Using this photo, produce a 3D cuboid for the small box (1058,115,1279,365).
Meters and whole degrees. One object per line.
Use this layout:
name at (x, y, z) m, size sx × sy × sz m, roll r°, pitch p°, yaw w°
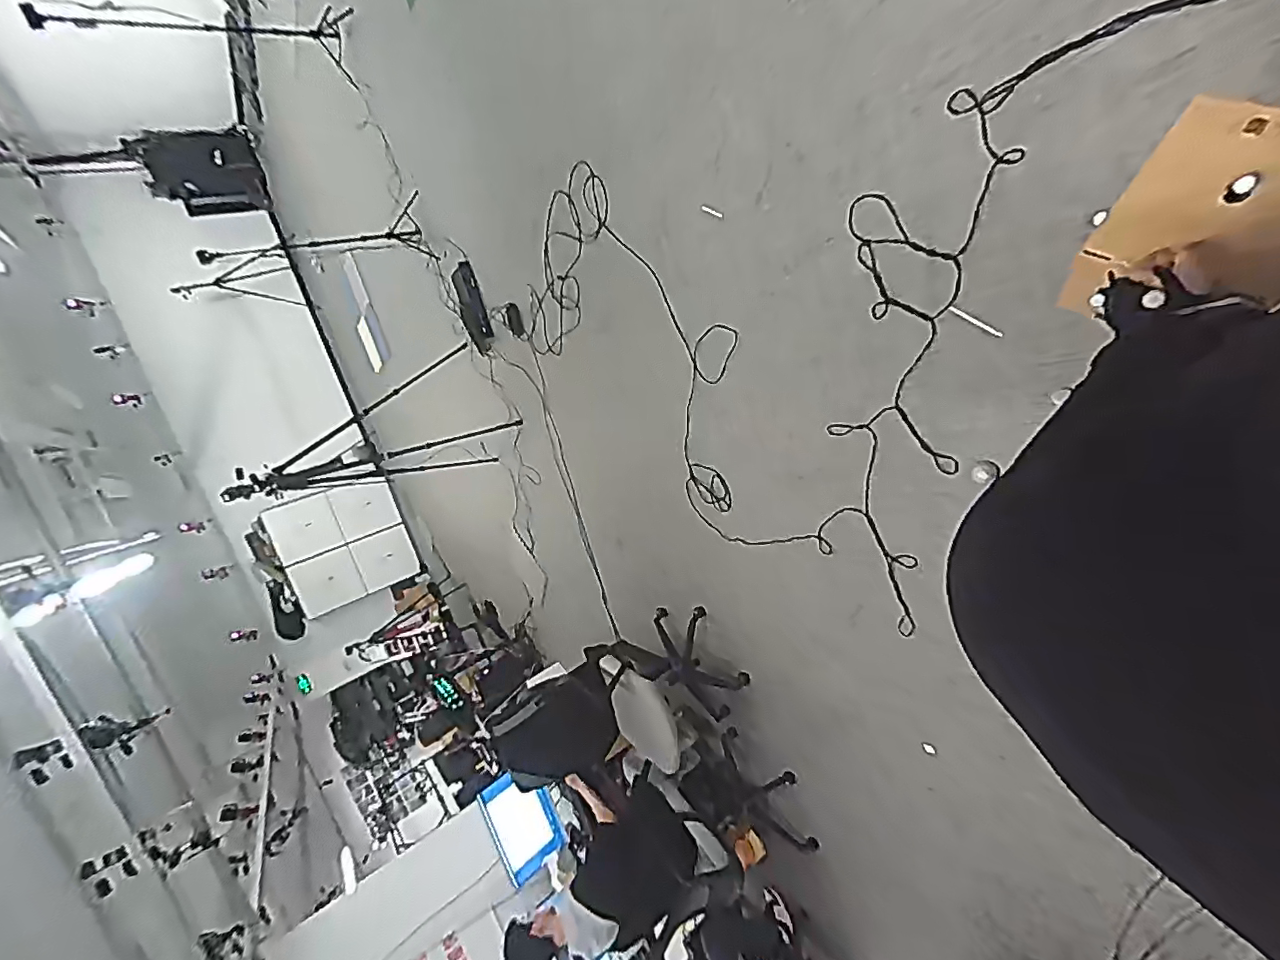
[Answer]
small box at (0.614, -0.257, 0.595) m, size 0.168 × 0.179 × 0.176 m, roll 36°, pitch 103°, yaw 28°
